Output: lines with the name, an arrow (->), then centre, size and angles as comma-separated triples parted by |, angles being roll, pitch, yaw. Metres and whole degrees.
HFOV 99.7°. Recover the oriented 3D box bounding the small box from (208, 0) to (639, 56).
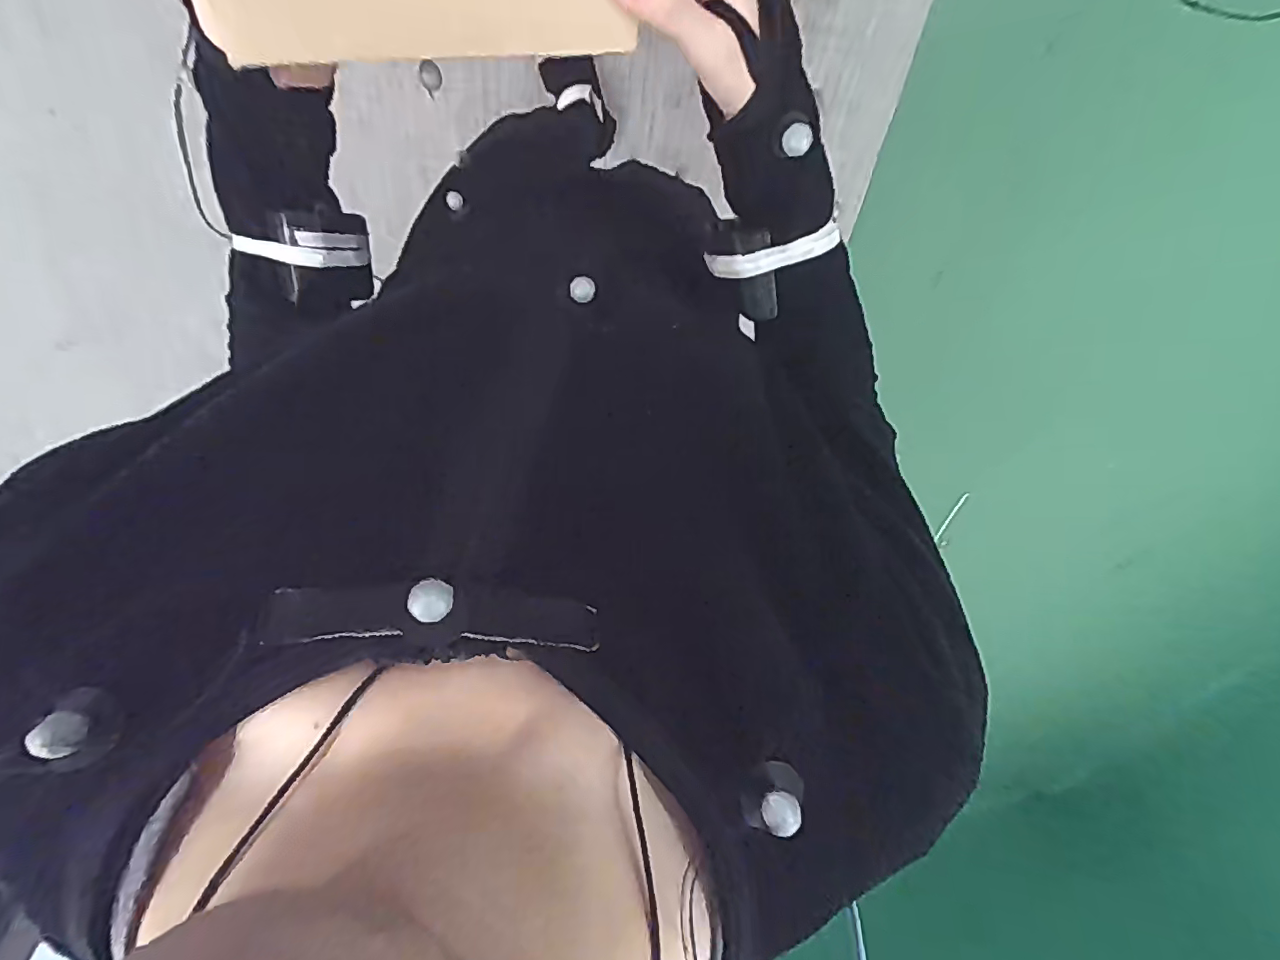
small box -> -0.103, -0.291, 0.222 | 0.168, 0.176, 0.179 | -14, 132, -16
